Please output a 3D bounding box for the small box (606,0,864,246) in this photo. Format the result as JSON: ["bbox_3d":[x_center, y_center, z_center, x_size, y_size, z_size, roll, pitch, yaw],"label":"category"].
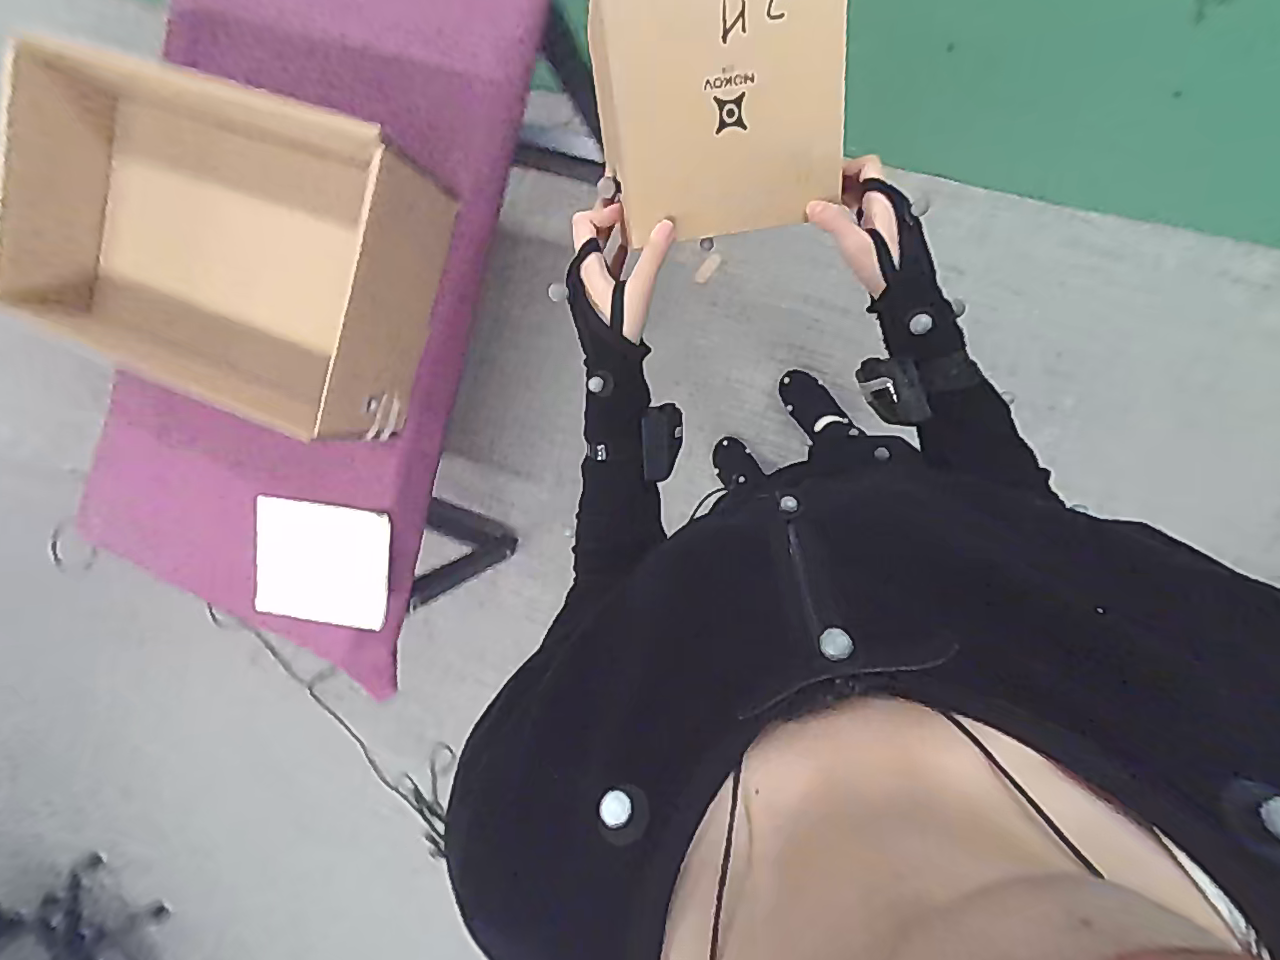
[{"bbox_3d":[0.065,-0.301,0.448,0.168,0.176,0.179,-8,115,-3],"label":"small box"}]
